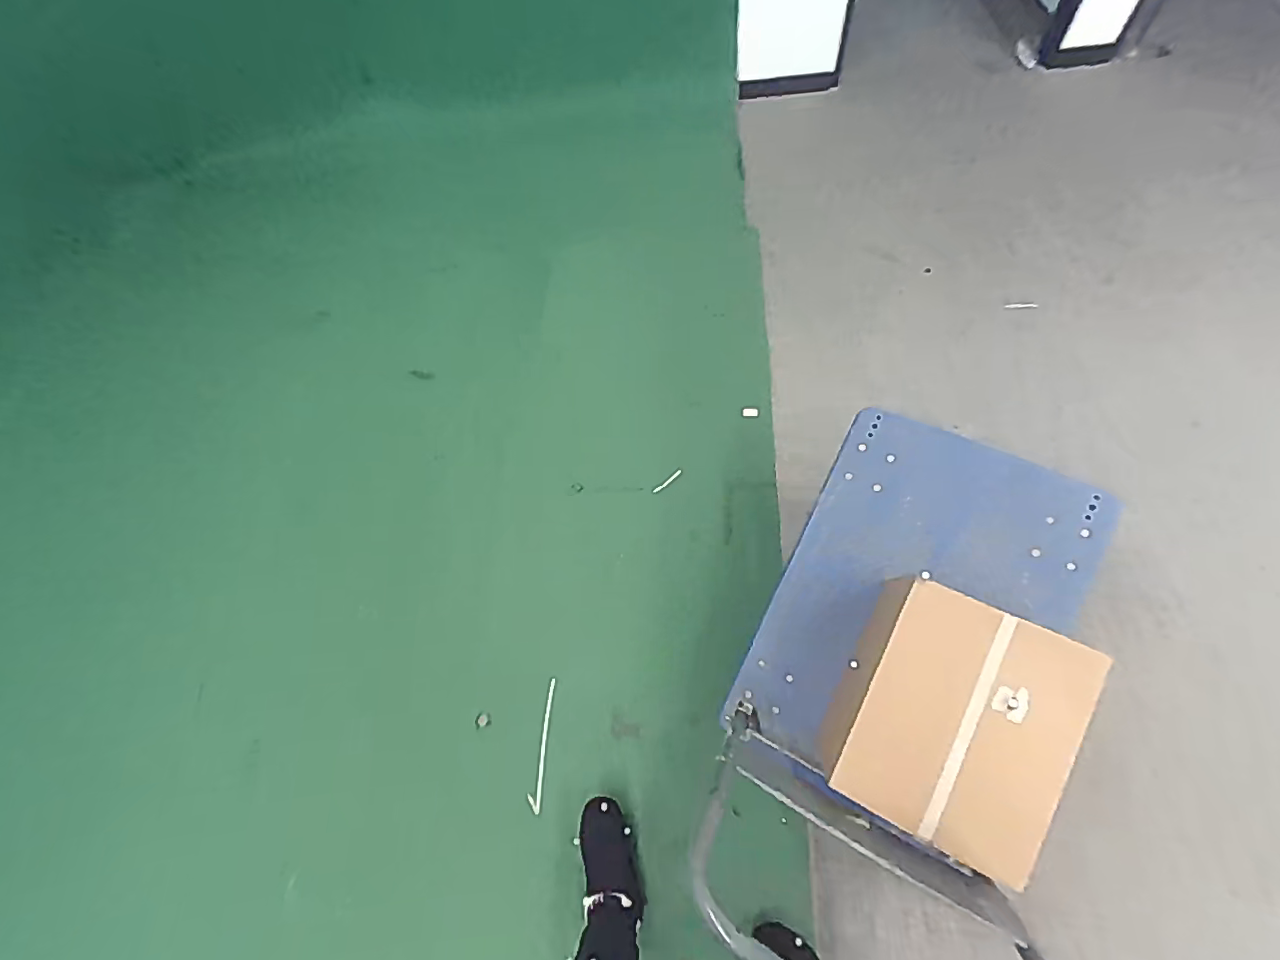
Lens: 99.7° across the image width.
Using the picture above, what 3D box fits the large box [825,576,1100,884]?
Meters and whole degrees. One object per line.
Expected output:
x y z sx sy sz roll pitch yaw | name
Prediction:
0.588 0.443 1.061 0.320 0.320 0.408 23 84 17 | large box
